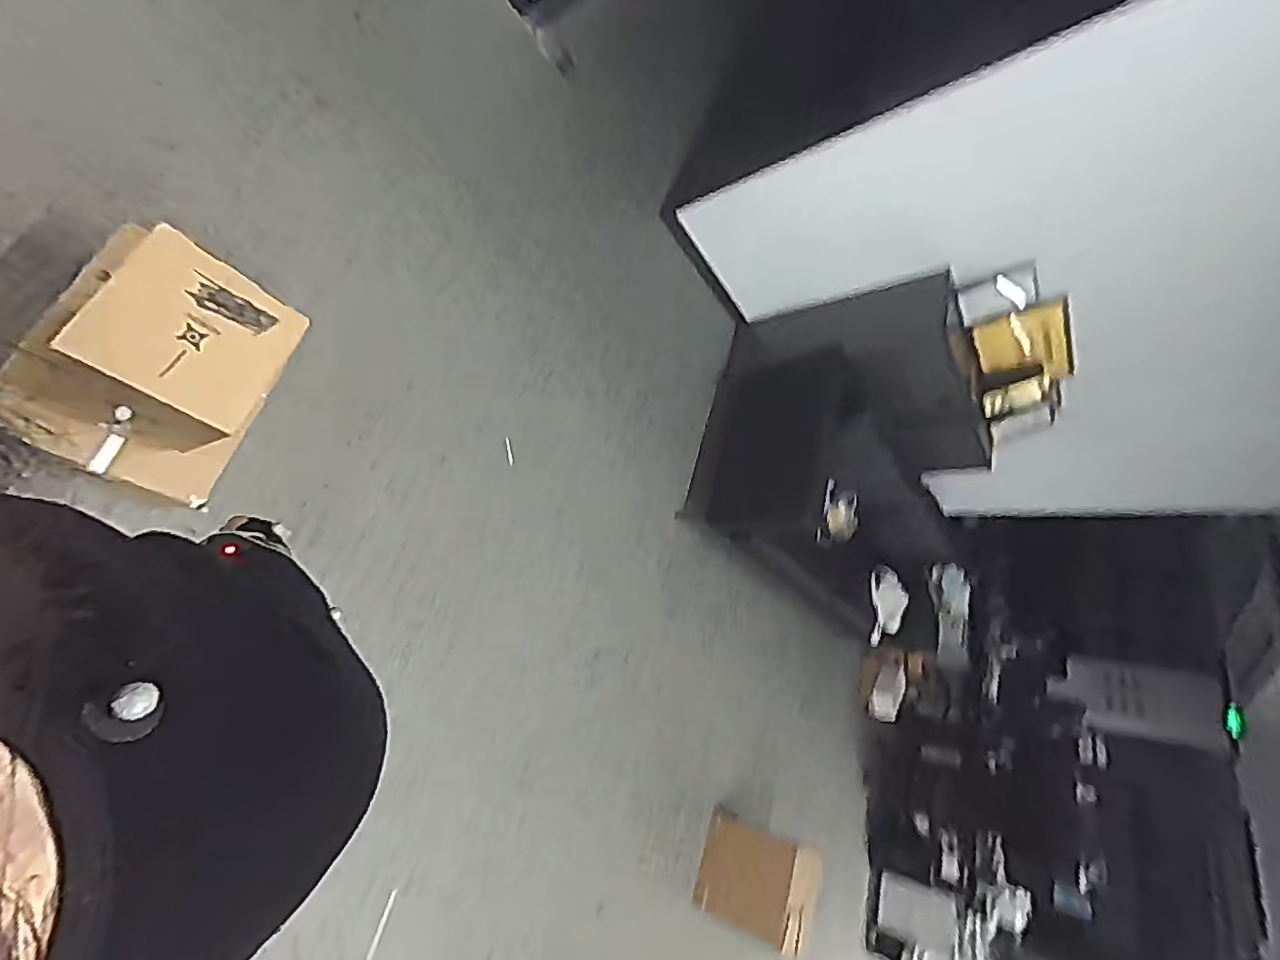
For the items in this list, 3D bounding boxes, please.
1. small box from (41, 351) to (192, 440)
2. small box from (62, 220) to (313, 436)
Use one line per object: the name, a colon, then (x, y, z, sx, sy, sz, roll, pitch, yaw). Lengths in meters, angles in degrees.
small box: (-0.801, -0.173, 0.872, 0.179, 0.176, 0.168, 35, 62, -42)
small box: (-0.550, -0.170, 0.658, 0.168, 0.176, 0.179, 39, 61, -41)
